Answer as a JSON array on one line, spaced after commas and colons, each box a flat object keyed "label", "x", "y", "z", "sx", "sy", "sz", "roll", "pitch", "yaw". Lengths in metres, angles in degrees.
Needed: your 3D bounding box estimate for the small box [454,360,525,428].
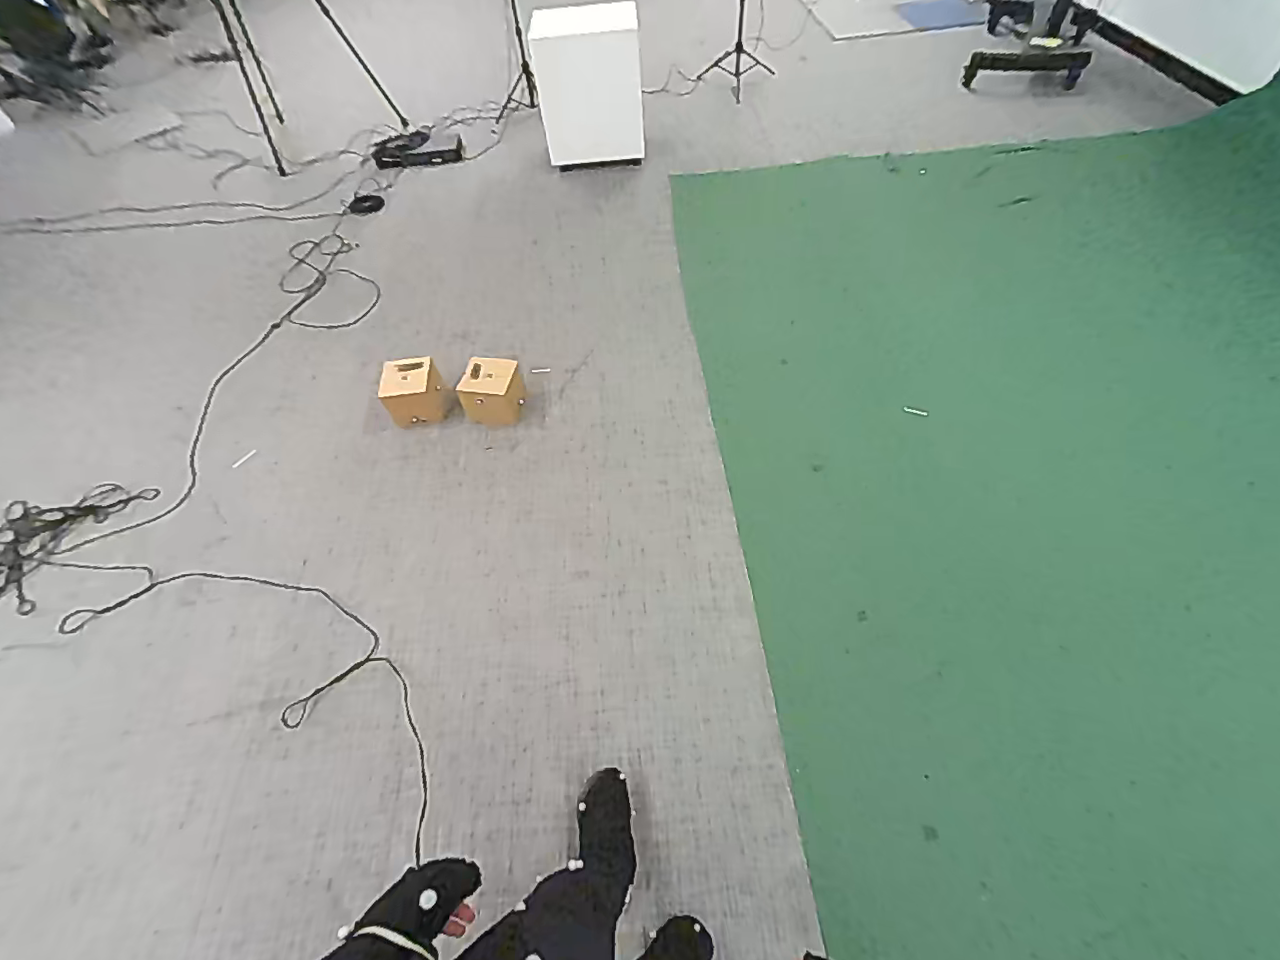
[{"label": "small box", "x": -0.527, "y": -0.303, "z": 1.921, "sx": 0.179, "sy": 0.176, "sz": 0.168, "roll": 7, "pitch": 56, "yaw": 7}]
